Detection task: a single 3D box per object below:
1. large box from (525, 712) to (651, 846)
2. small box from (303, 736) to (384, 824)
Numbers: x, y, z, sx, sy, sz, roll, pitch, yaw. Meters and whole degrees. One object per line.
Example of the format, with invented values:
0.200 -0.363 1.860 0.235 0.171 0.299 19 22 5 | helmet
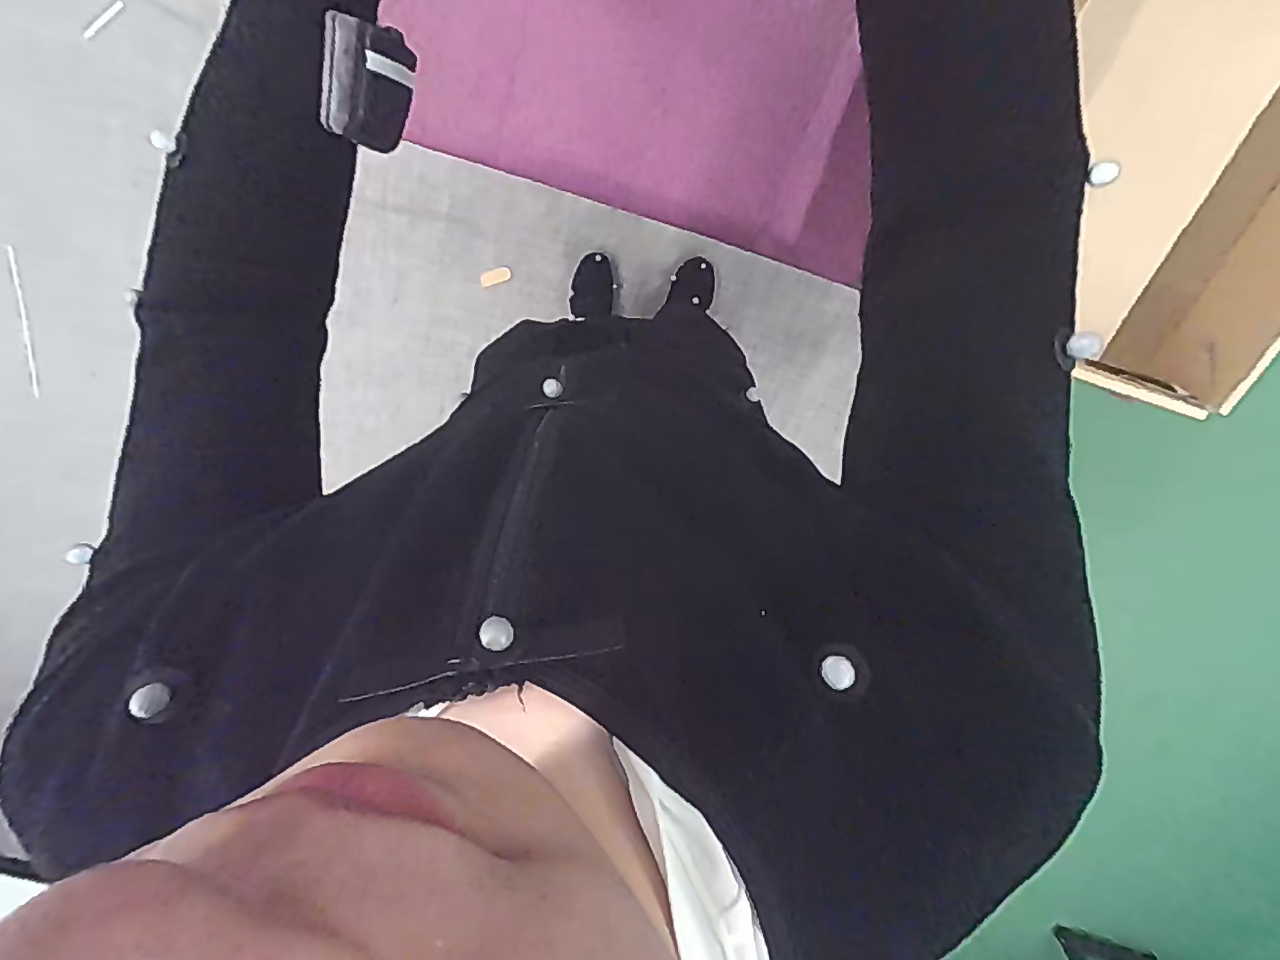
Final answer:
-0.186 1.163 2.115 0.408 0.320 0.320 -12 115 7 | large box
-0.981 0.993 1.802 0.168 0.176 0.179 24 112 -8 | small box
